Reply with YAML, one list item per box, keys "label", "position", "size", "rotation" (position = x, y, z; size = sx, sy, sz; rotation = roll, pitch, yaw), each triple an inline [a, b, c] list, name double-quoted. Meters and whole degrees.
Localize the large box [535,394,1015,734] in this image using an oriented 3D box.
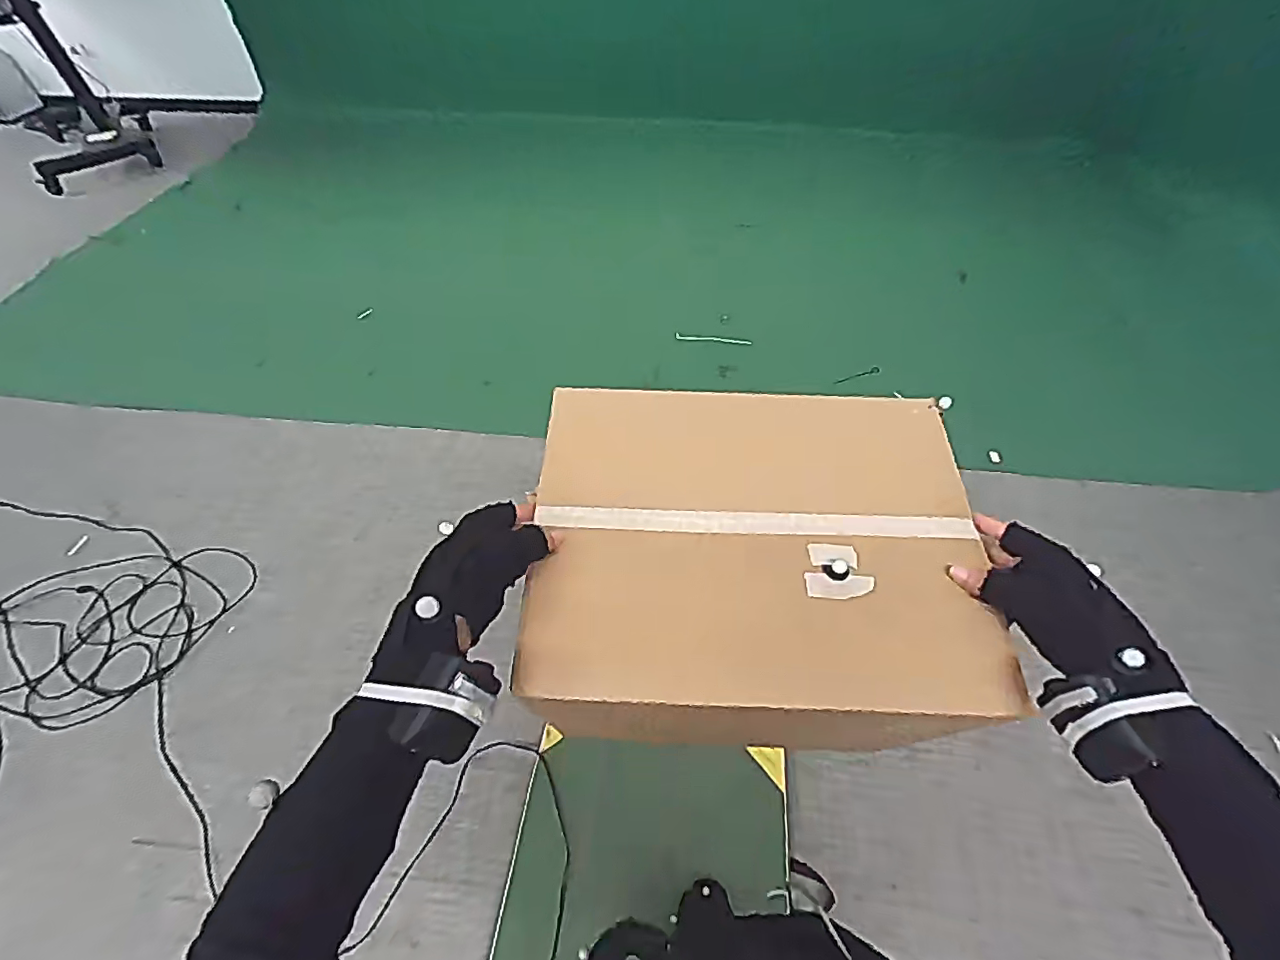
- label: "large box"
  position: [0.109, 0.116, 0.641]
  size: [0.408, 0.320, 0.320]
  rotation: [2, 60, 0]
